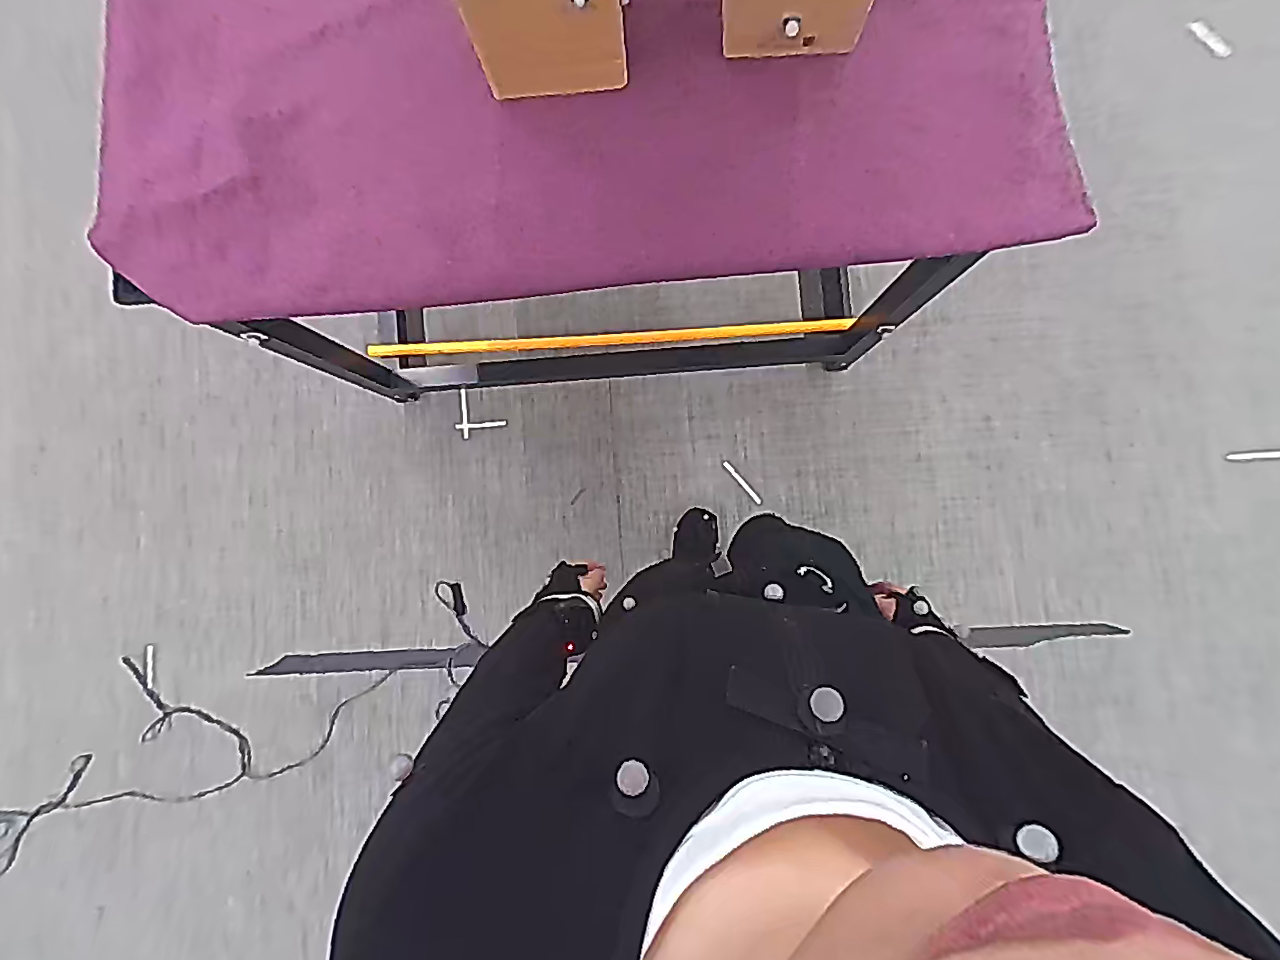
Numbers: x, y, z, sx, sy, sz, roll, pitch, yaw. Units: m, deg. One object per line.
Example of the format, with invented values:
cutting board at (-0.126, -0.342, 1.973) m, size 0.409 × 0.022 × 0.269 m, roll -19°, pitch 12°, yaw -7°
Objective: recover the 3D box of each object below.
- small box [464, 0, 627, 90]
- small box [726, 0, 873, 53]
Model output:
small box at (-0.112, -0.590, 0.624) m, size 0.179 × 0.176 × 0.168 m, roll -4°, pitch 86°, yaw 2°
small box at (0.188, -0.636, 0.612) m, size 0.168 × 0.176 × 0.179 m, roll 0°, pitch 87°, yaw 3°
